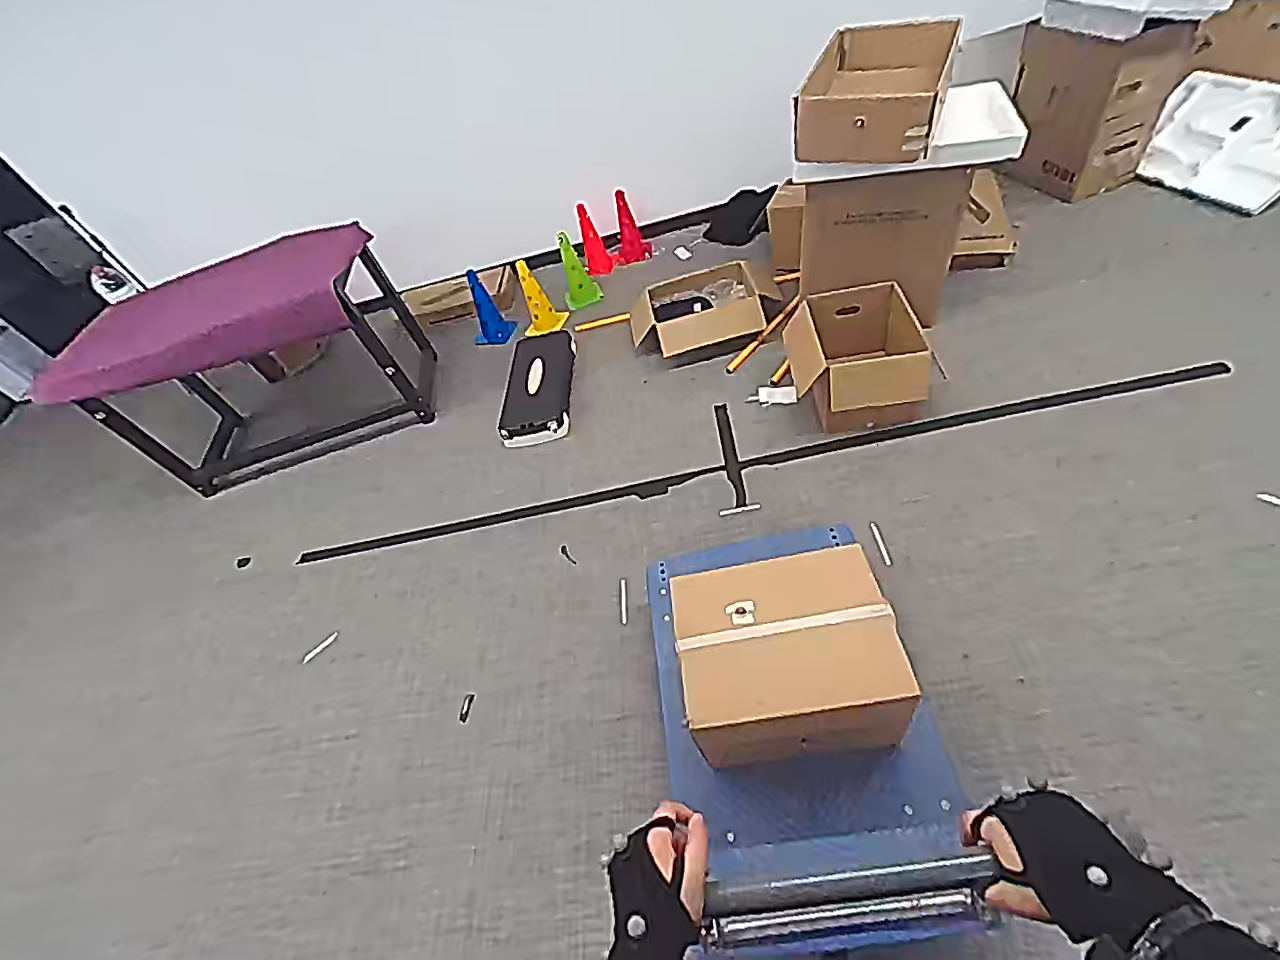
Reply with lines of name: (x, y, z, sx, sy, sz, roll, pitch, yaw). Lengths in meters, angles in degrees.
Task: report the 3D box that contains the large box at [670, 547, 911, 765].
large box: (0.306, 0.391, 1.169, 0.408, 0.320, 0.320, -13, 47, 8)
